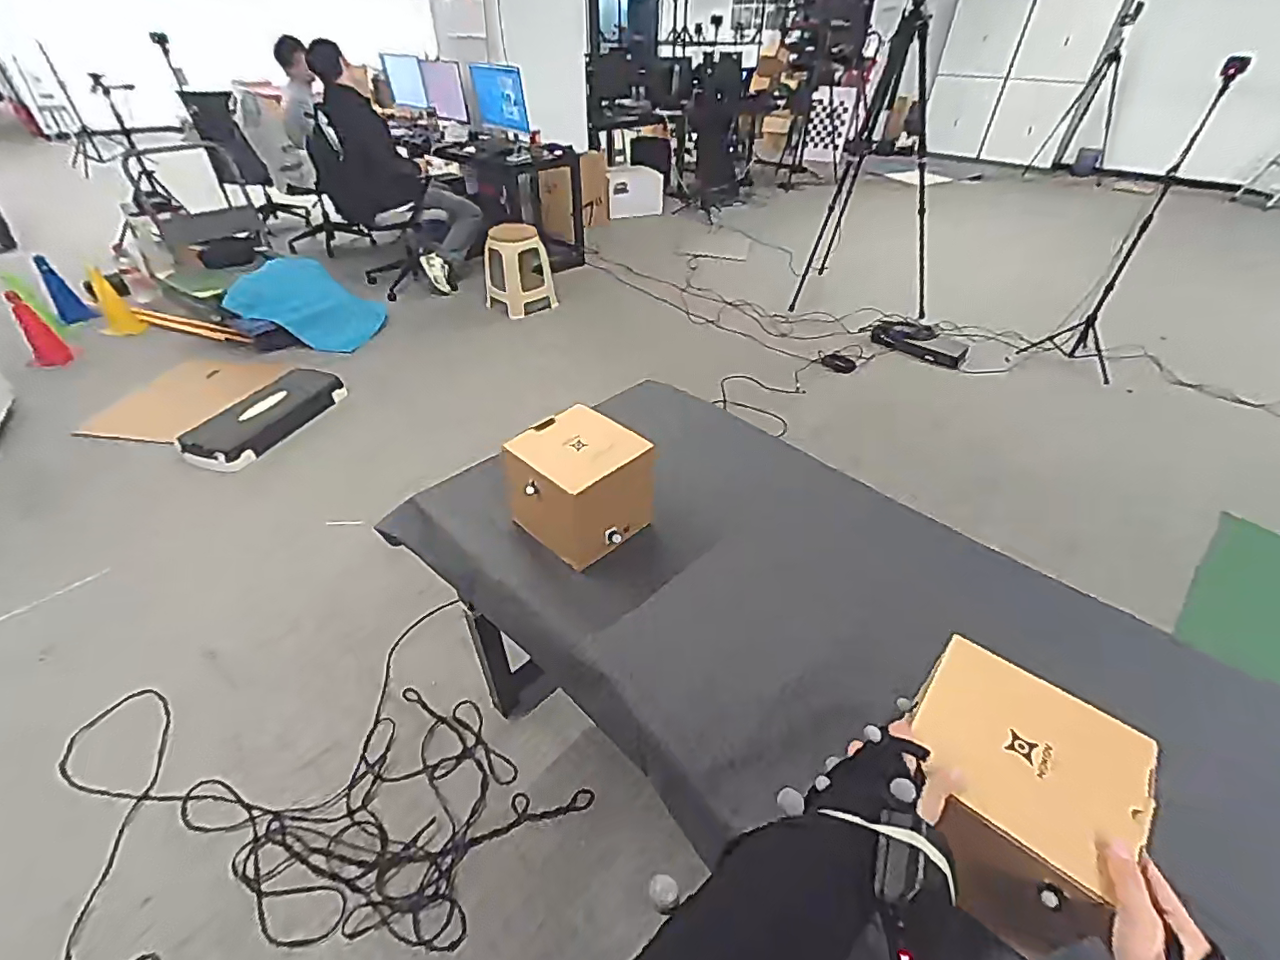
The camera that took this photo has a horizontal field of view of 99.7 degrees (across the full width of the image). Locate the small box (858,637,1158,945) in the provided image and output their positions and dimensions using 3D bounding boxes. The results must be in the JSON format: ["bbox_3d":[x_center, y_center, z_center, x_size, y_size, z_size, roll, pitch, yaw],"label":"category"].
[{"bbox_3d":[0.340,0.298,0.526,0.179,0.176,0.168,29,49,30],"label":"small box"}]

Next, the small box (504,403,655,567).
[{"bbox_3d":[-0.094,0.007,0.874,0.179,0.176,0.168,33,50,31],"label":"small box"}]
